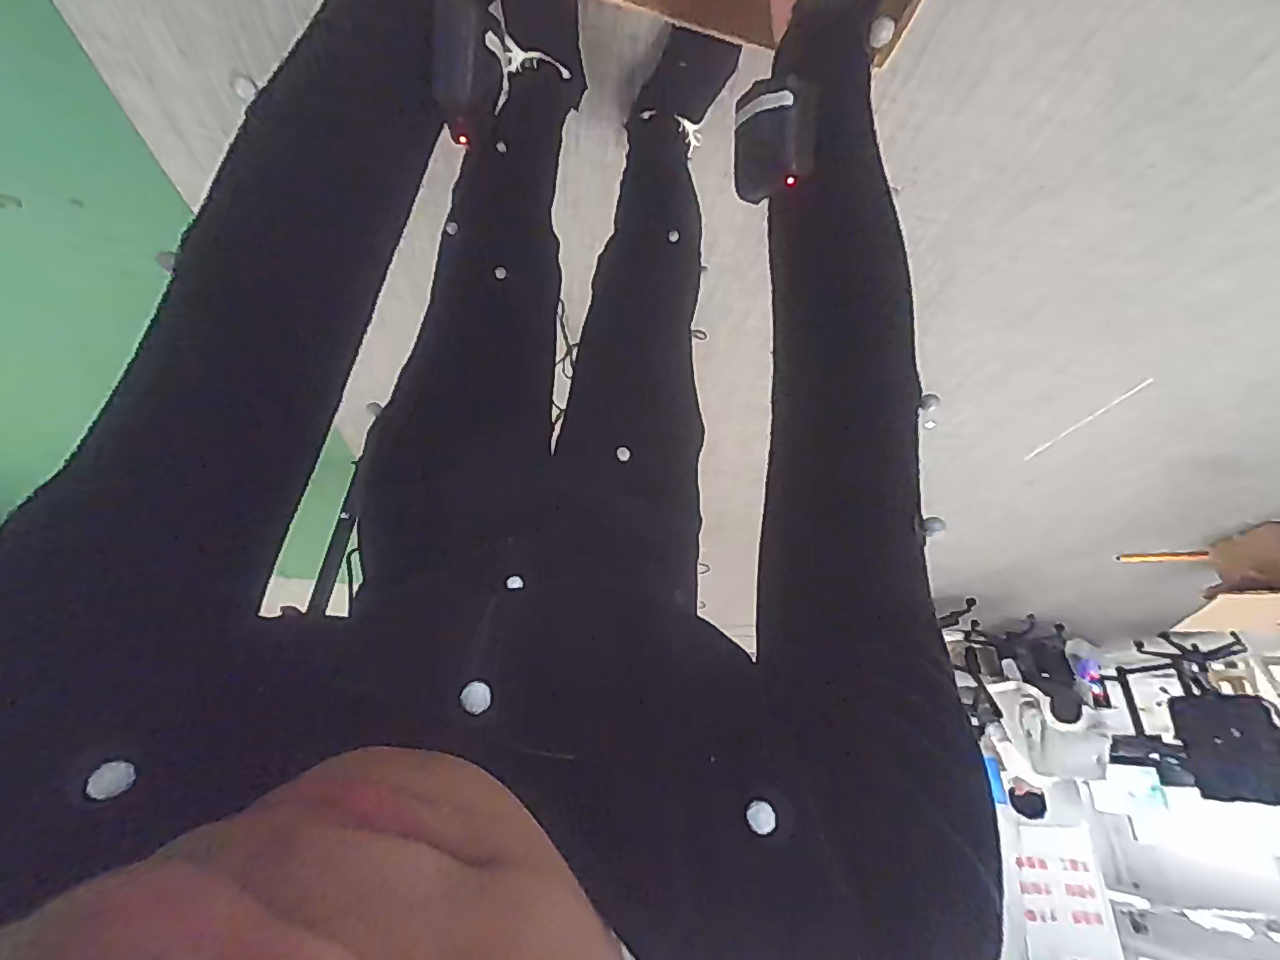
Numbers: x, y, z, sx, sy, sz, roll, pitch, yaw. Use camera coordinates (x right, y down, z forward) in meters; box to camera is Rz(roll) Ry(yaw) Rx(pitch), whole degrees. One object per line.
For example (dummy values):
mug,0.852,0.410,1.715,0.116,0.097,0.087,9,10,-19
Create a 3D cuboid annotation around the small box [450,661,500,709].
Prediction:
small box,-0.712,0.896,2.353,0.168,0.176,0.179,6,152,-5
